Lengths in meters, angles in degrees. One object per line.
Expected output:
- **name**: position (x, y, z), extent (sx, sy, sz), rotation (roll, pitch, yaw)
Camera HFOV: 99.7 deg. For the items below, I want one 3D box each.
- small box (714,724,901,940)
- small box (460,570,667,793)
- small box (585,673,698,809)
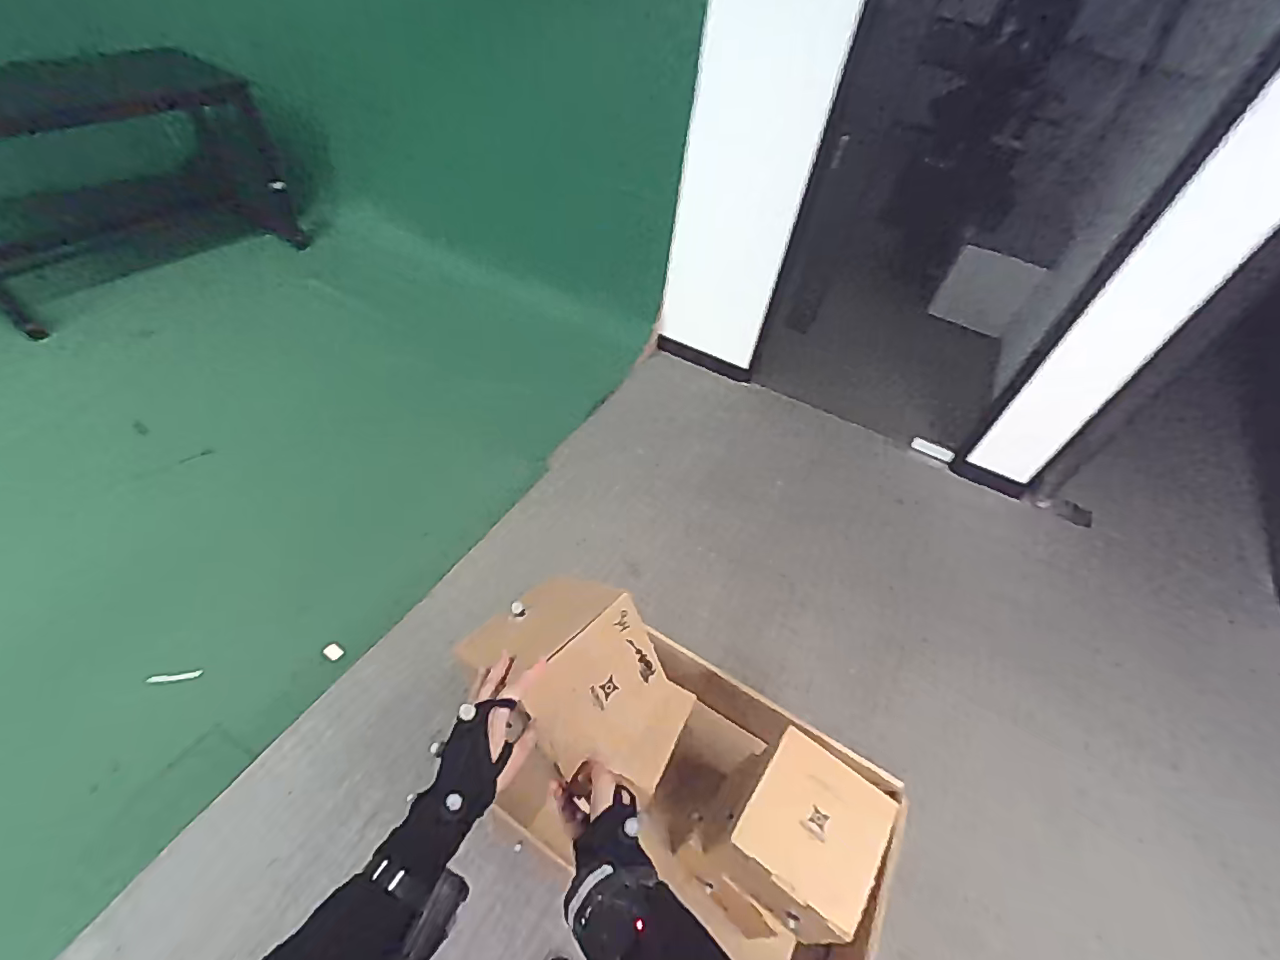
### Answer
- **small box**: position (0.217, 0.481, 0.740), extent (0.168, 0.176, 0.179), rotation (34, 53, 19)
- **small box**: position (-0.102, 0.233, 0.676), extent (0.179, 0.168, 0.176), rotation (-33, 22, -35)
- **small box**: position (-0.019, 0.440, 0.956), extent (0.168, 0.176, 0.179), rotation (26, 51, 14)
